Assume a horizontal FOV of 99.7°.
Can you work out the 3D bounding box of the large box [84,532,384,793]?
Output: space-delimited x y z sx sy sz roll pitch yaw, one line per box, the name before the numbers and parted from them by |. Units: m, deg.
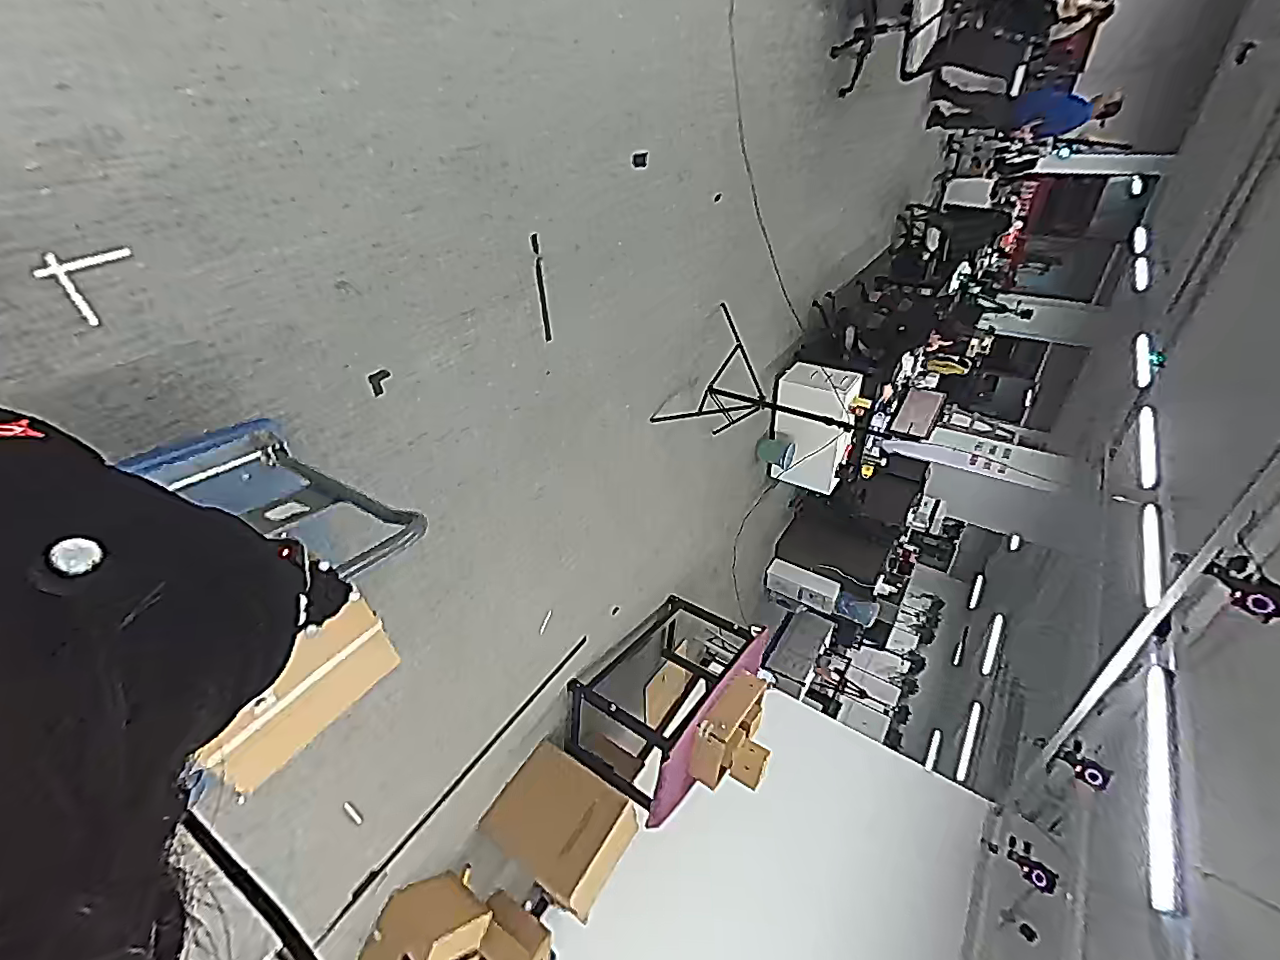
large box | -0.898 0.393 1.245 0.408 0.320 0.320 -42 140 -38
